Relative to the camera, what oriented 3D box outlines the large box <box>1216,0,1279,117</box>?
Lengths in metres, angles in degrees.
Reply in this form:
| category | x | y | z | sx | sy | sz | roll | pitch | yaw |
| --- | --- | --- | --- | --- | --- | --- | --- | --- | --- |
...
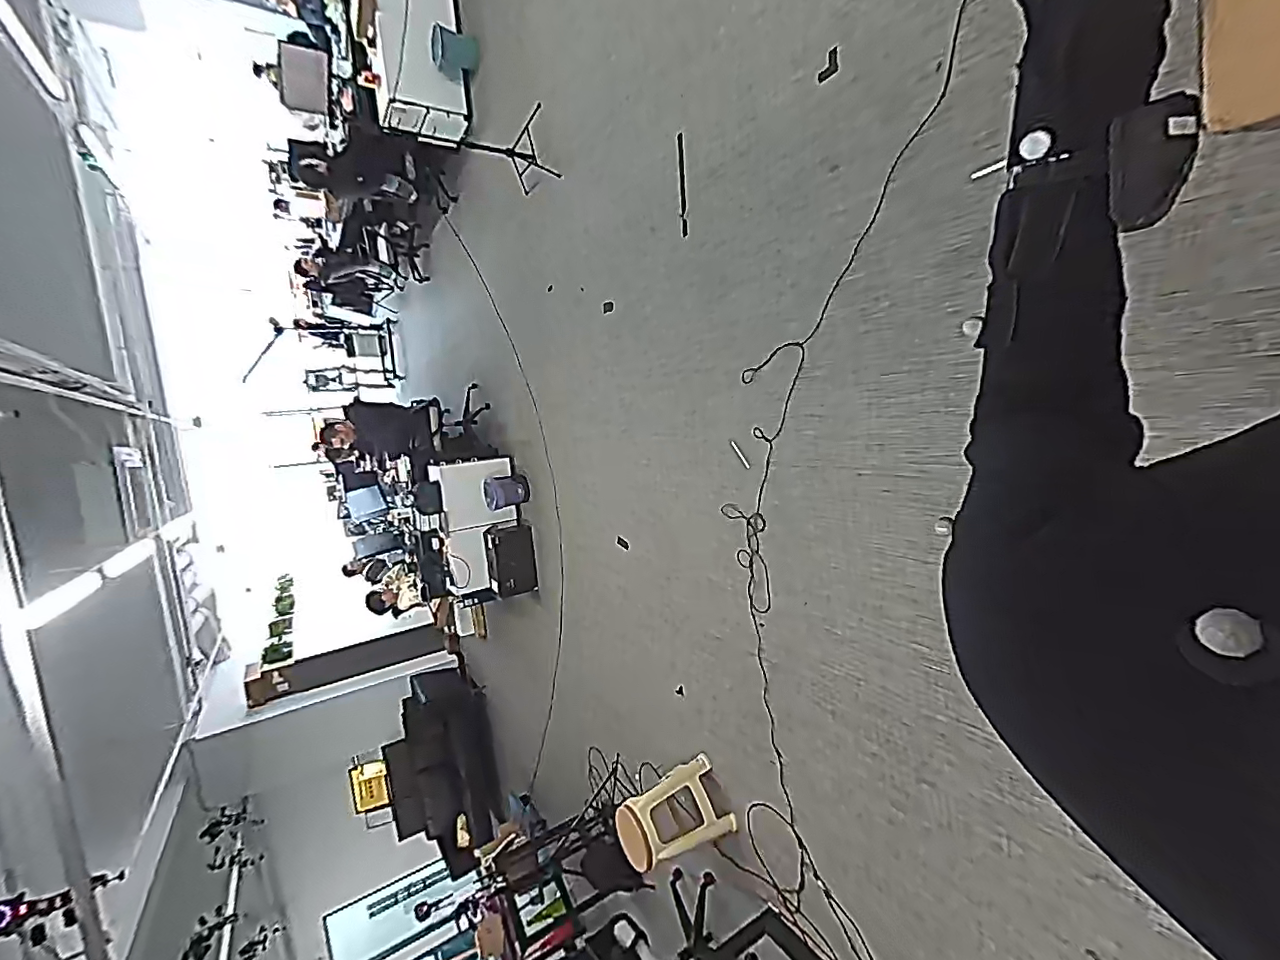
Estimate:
| category | x | y | z | sx | sy | sz | roll | pitch | yaw |
| --- | --- | --- | --- | --- | --- | --- | --- | --- | --- |
| large box | 0.499 | -0.379 | 0.174 | 0.408 | 0.320 | 0.320 | 5 | 116 | 55 |
